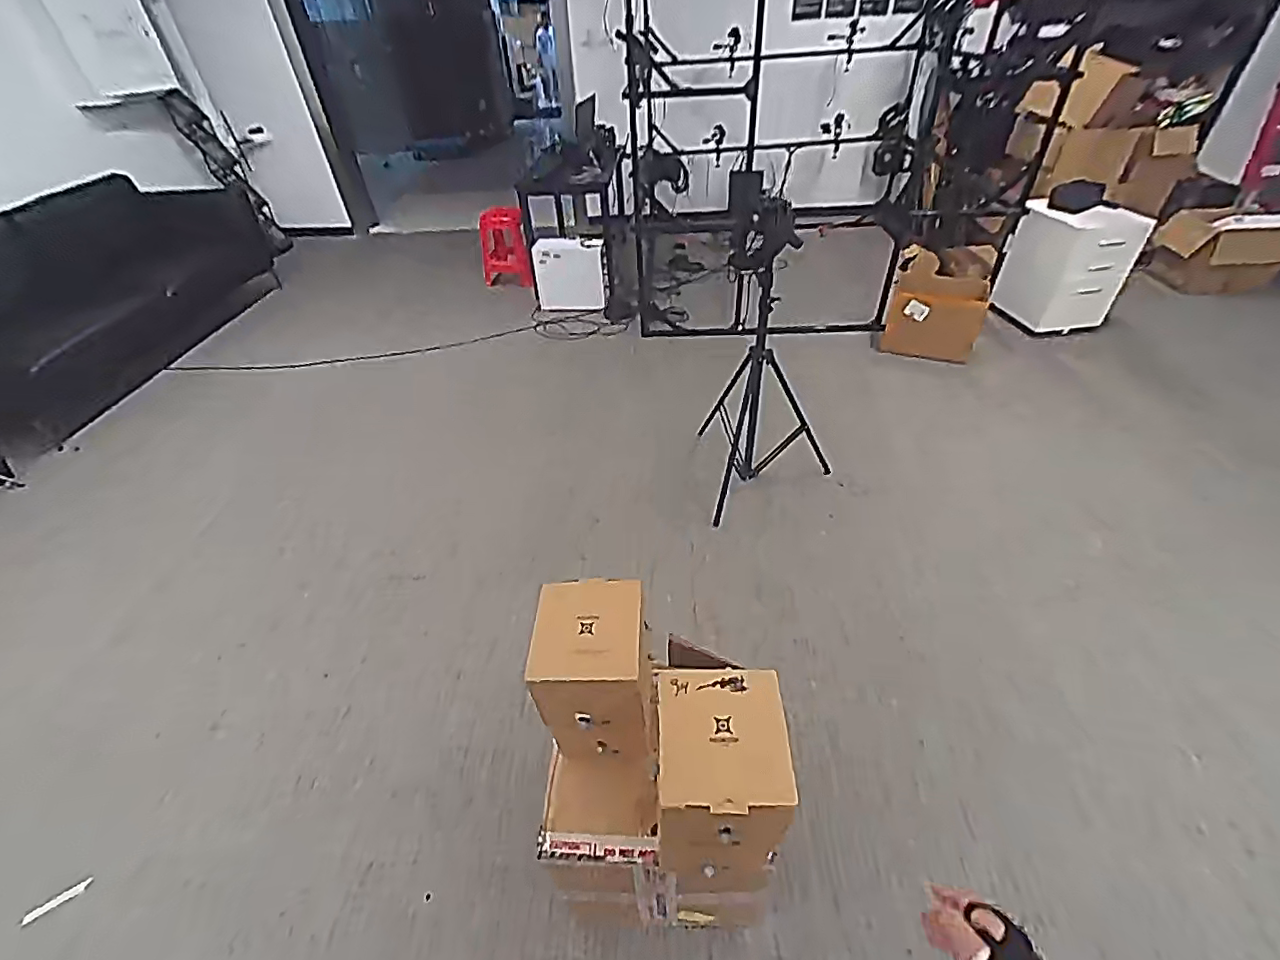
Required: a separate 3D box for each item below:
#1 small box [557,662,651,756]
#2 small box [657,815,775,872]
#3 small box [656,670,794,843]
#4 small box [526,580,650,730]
[{"bbox_3d":[-0.067,0.388,1.002,0.168,0.176,0.179,-2,43,4],"label":"small box"},{"bbox_3d":[0.110,0.501,0.864,0.168,0.176,0.179,-2,44,2],"label":"small box"},{"bbox_3d":[0.108,0.384,0.748,0.168,0.176,0.179,-1,44,3],"label":"small box"},{"bbox_3d":[-0.073,0.282,0.876,0.168,0.176,0.179,-3,44,4],"label":"small box"}]
